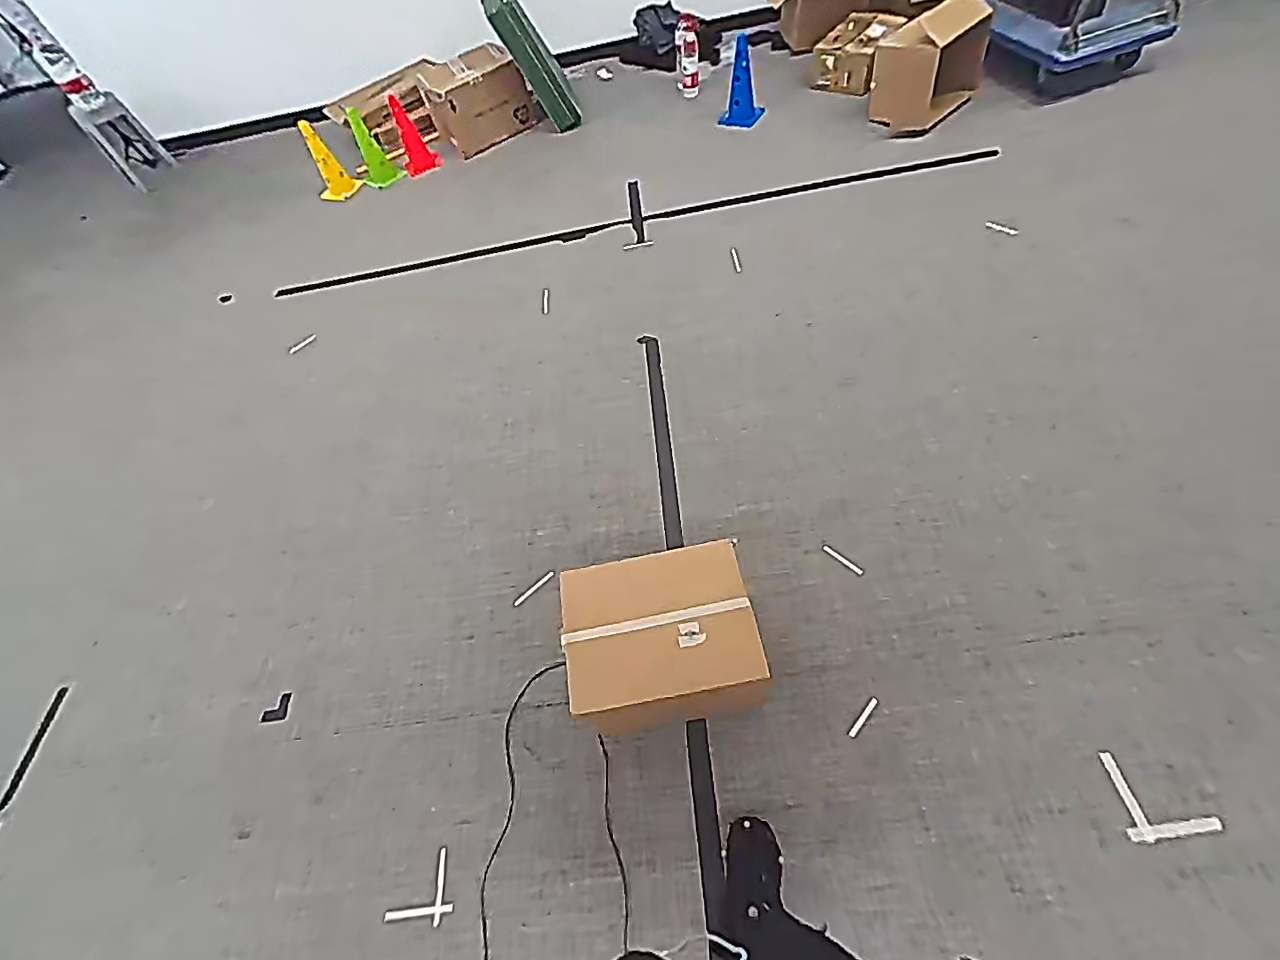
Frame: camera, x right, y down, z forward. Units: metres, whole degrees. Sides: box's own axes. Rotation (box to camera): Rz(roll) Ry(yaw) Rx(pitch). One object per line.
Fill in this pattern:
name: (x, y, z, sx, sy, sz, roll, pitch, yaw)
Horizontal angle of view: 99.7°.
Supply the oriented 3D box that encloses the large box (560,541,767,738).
large box: (0.052, 0.383, 1.269, 0.408, 0.320, 0.320, -11, 57, 1)
